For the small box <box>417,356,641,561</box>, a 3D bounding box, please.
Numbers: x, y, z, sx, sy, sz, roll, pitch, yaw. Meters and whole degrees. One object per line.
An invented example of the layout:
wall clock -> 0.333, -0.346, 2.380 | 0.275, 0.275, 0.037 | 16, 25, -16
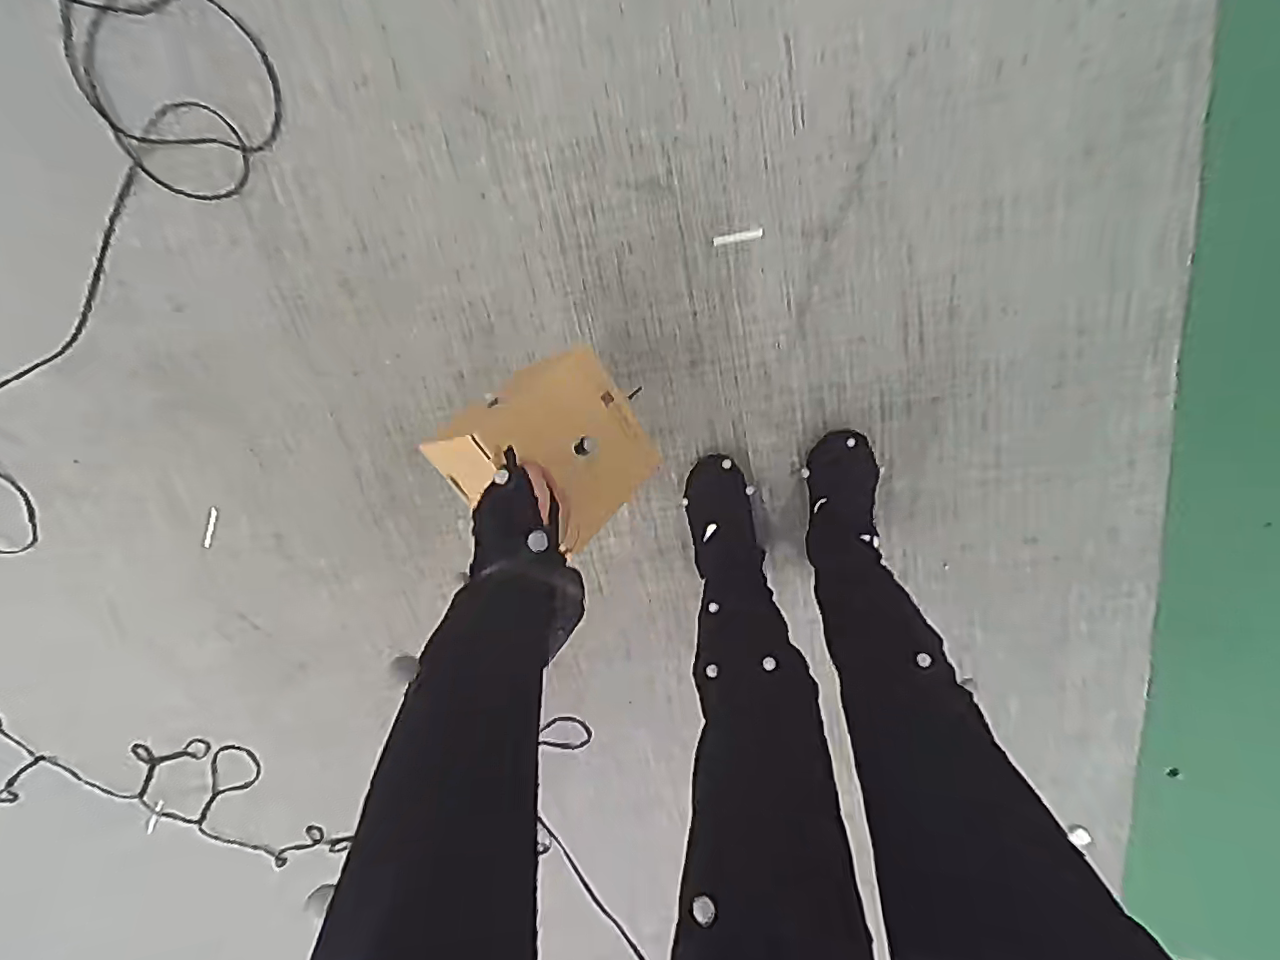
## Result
small box -> -0.121, -0.028, 0.642 | 0.179, 0.176, 0.168 | 0, 130, 51
